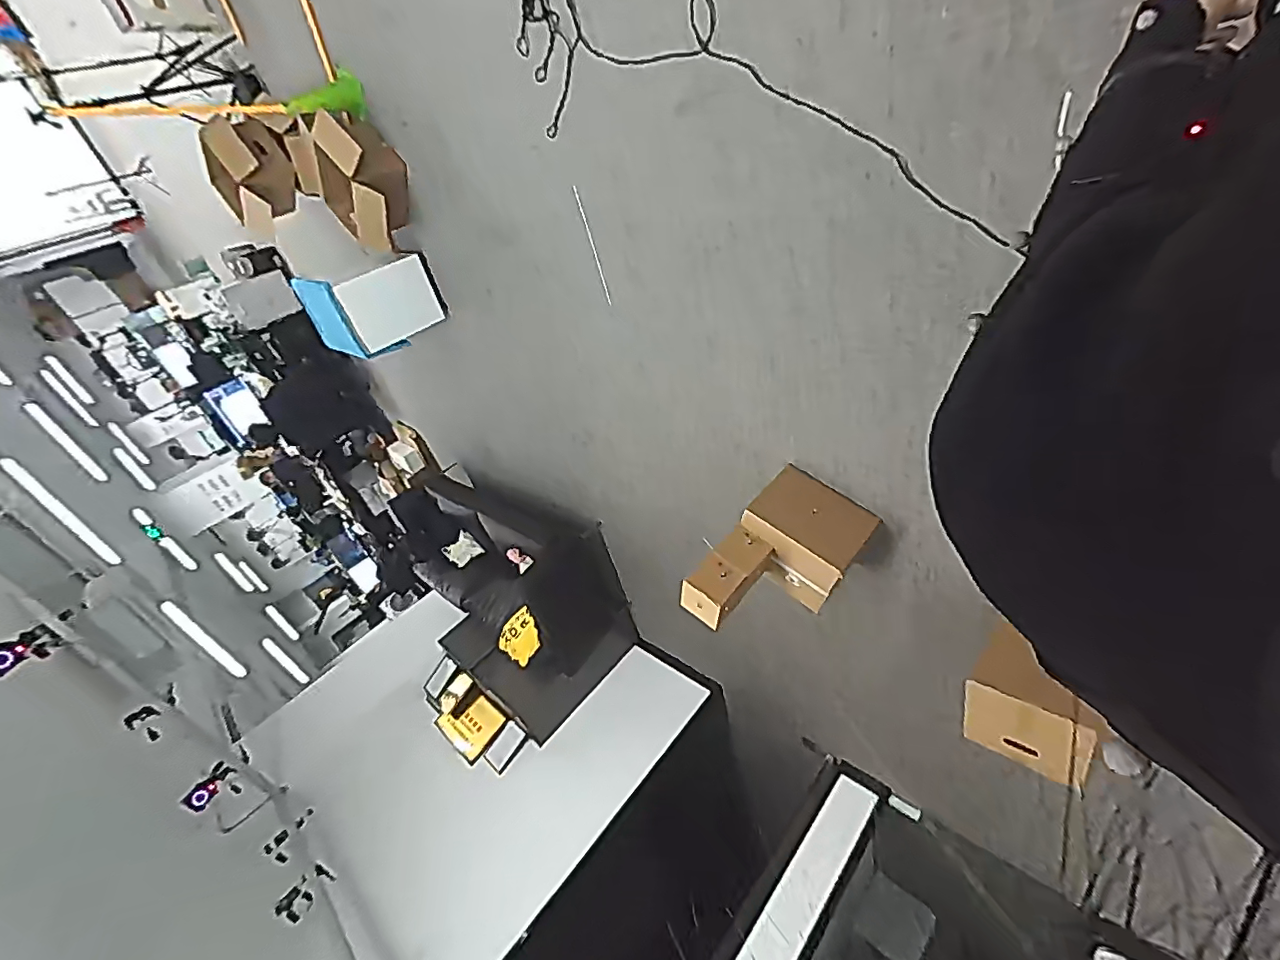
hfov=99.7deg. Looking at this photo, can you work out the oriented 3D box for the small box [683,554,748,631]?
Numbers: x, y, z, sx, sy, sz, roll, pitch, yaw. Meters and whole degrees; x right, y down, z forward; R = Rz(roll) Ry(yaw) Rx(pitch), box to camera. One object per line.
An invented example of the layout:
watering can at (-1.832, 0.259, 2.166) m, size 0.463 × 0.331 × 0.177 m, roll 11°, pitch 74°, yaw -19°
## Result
small box at (0.276, 0.407, 1.964) m, size 0.168 × 0.176 × 0.179 m, roll 33°, pitch 145°, yaw 27°
